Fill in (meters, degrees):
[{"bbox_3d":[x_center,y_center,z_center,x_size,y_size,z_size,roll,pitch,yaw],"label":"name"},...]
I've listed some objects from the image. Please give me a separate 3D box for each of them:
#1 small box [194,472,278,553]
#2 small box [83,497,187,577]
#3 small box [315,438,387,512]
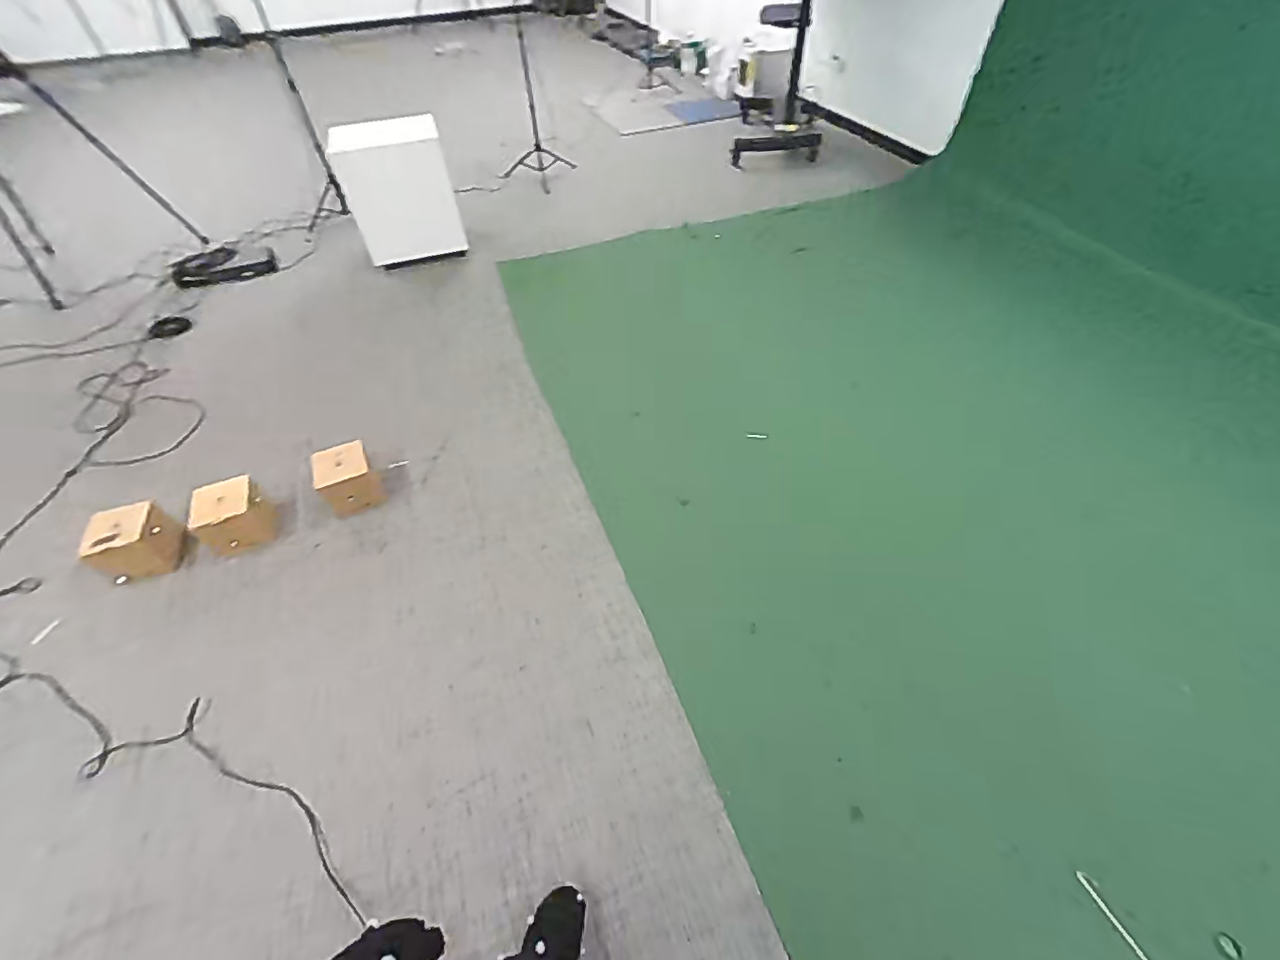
[{"bbox_3d":[-1.330,0.110,1.792,0.168,0.176,0.179,-20,52,-14],"label":"small box"},{"bbox_3d":[-1.603,0.190,1.731,0.168,0.176,0.179,-16,50,-11],"label":"small box"},{"bbox_3d":[-1.003,-0.010,1.883,0.168,0.176,0.179,-20,52,-16],"label":"small box"}]
